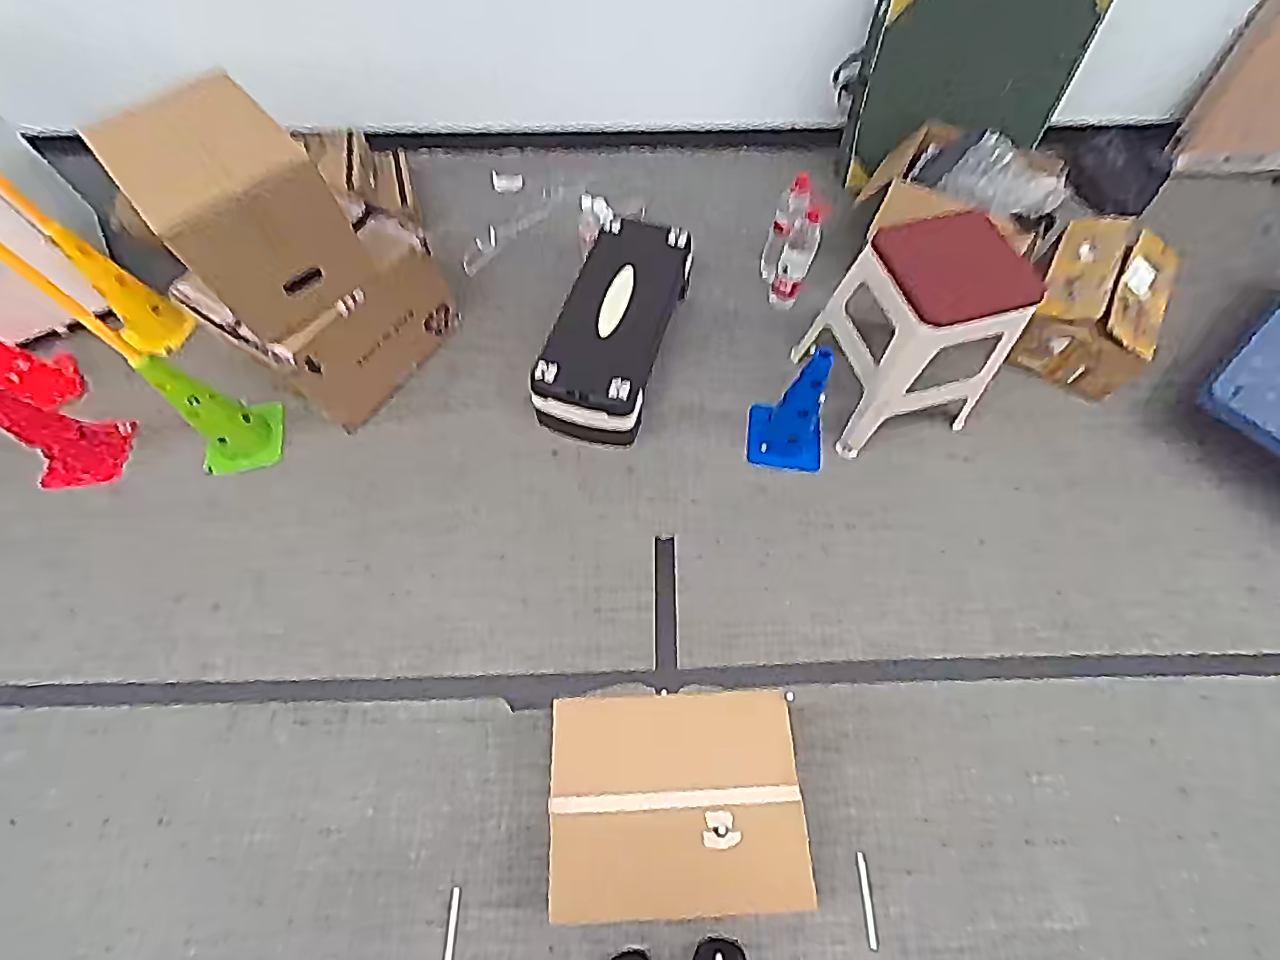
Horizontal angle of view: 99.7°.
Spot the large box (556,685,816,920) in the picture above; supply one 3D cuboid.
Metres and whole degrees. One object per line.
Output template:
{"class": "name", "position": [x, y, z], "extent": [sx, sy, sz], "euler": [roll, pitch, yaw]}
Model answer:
{"class": "large box", "position": [0.058, 0.575, 1.011], "extent": [0.408, 0.320, 0.320], "euler": [-2, 64, -2]}
